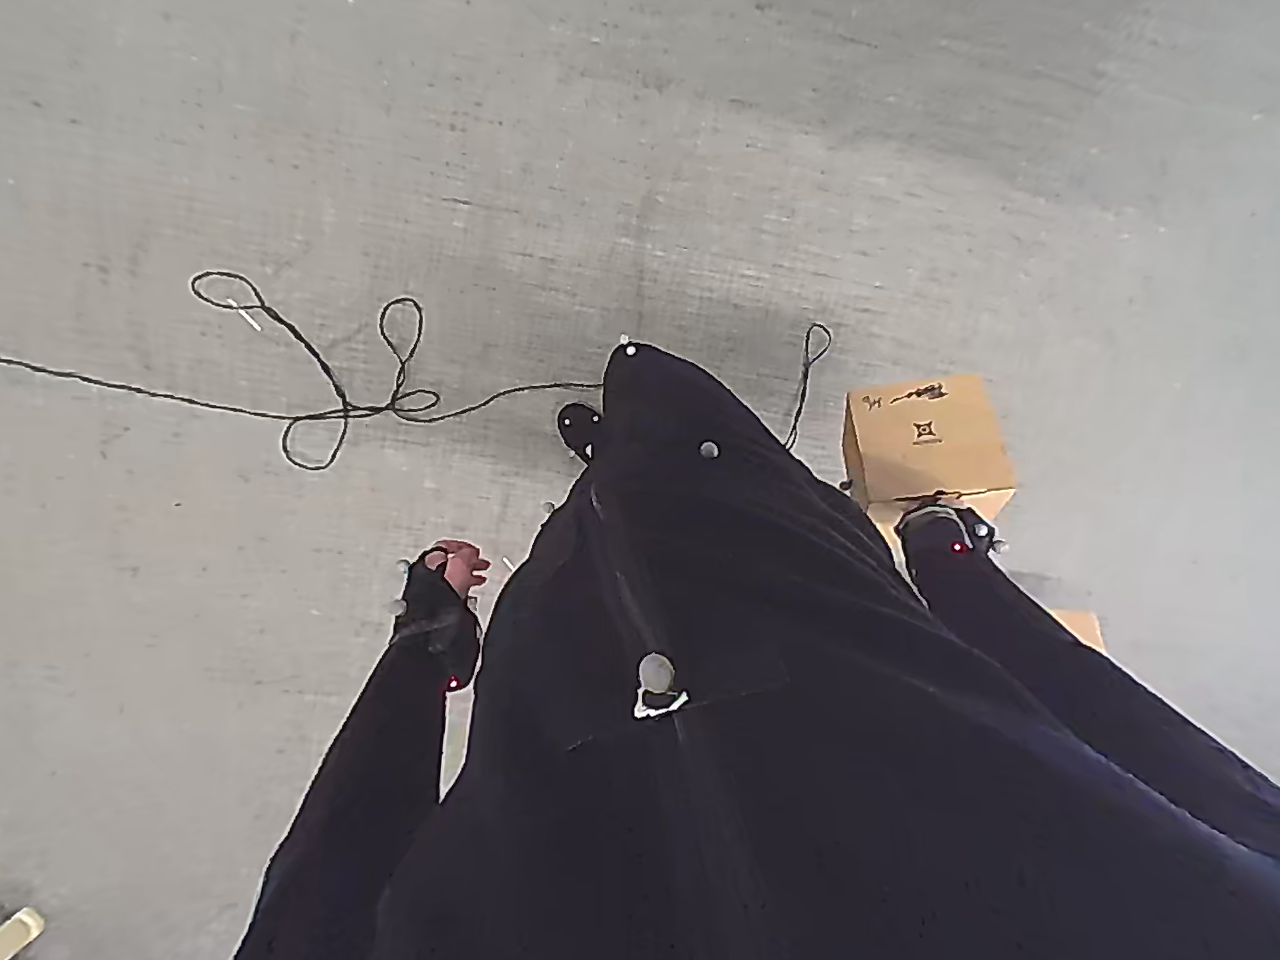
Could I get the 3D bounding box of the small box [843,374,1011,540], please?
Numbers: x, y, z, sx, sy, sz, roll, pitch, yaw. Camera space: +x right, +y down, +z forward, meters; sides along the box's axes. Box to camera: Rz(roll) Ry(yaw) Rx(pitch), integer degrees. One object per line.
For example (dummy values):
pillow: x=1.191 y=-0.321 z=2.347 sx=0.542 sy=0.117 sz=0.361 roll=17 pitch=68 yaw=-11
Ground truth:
small box: x=0.391 y=-0.021 z=0.771 sx=0.168 sy=0.176 sz=0.179 roll=-7 pitch=62 yaw=14
